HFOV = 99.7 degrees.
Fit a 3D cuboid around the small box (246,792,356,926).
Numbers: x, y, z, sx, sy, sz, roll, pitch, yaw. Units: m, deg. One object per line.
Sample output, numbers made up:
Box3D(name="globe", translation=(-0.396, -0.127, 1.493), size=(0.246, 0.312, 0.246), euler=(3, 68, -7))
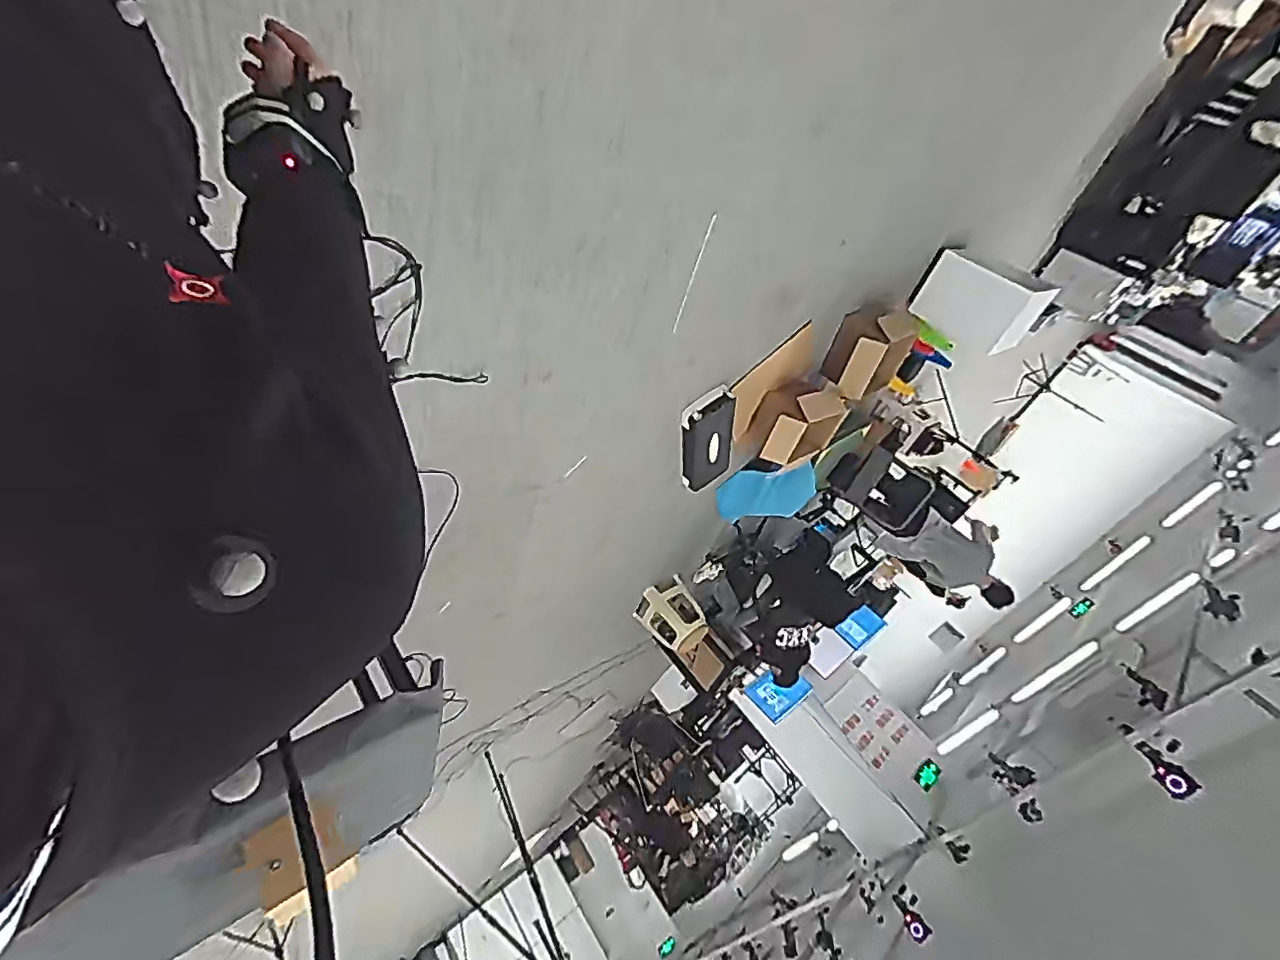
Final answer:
Box3D(name="small box", translation=(-0.792, 0.879, 1.262), size=(0.179, 0.176, 0.168), euler=(-21, 146, -37))
